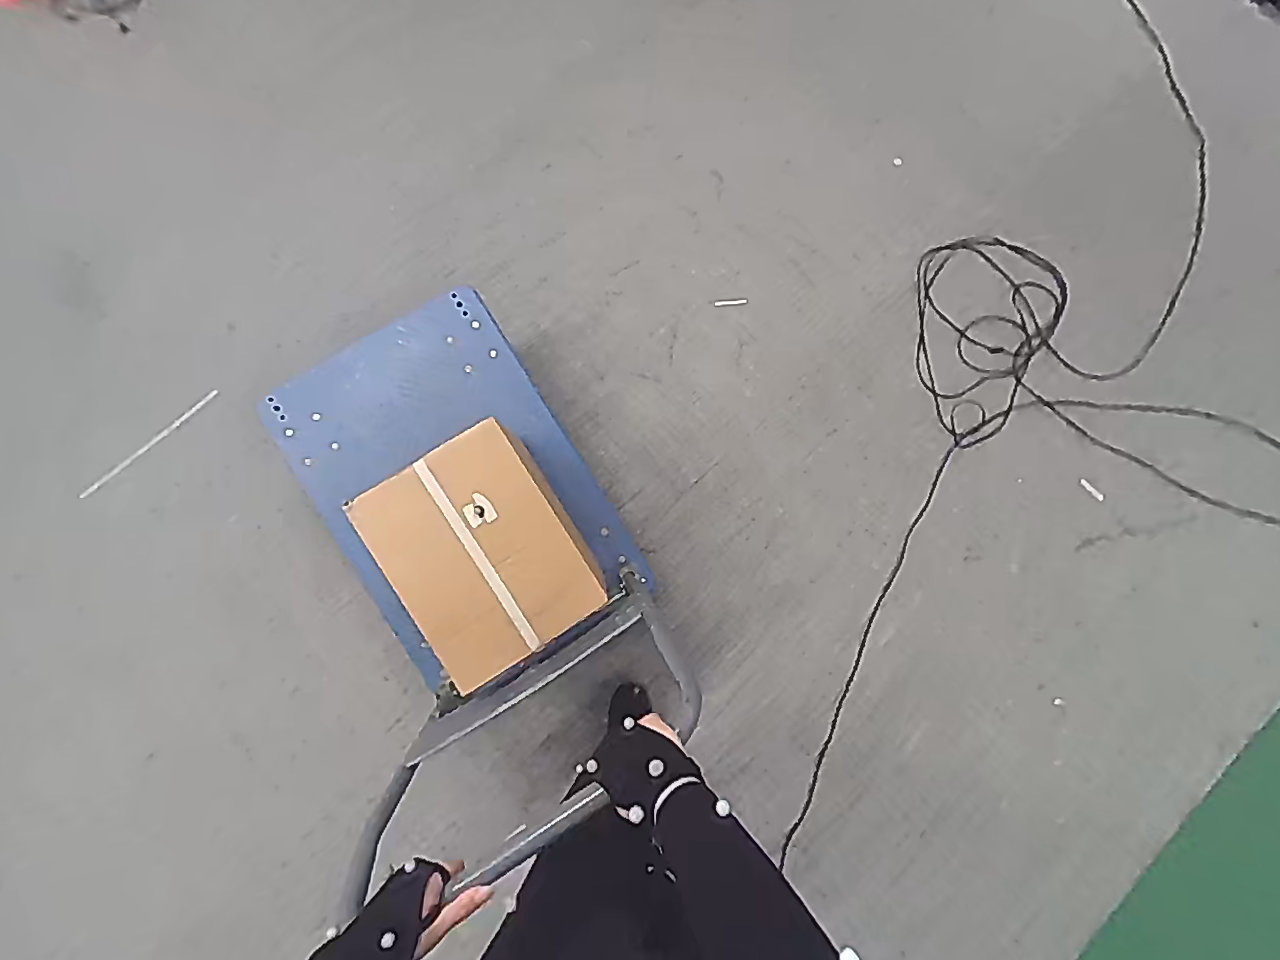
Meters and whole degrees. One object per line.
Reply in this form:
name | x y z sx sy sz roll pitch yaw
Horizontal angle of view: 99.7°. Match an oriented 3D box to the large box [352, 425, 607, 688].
large box | -0.302 0.146 1.148 0.320 0.320 0.408 -33 90 -5
